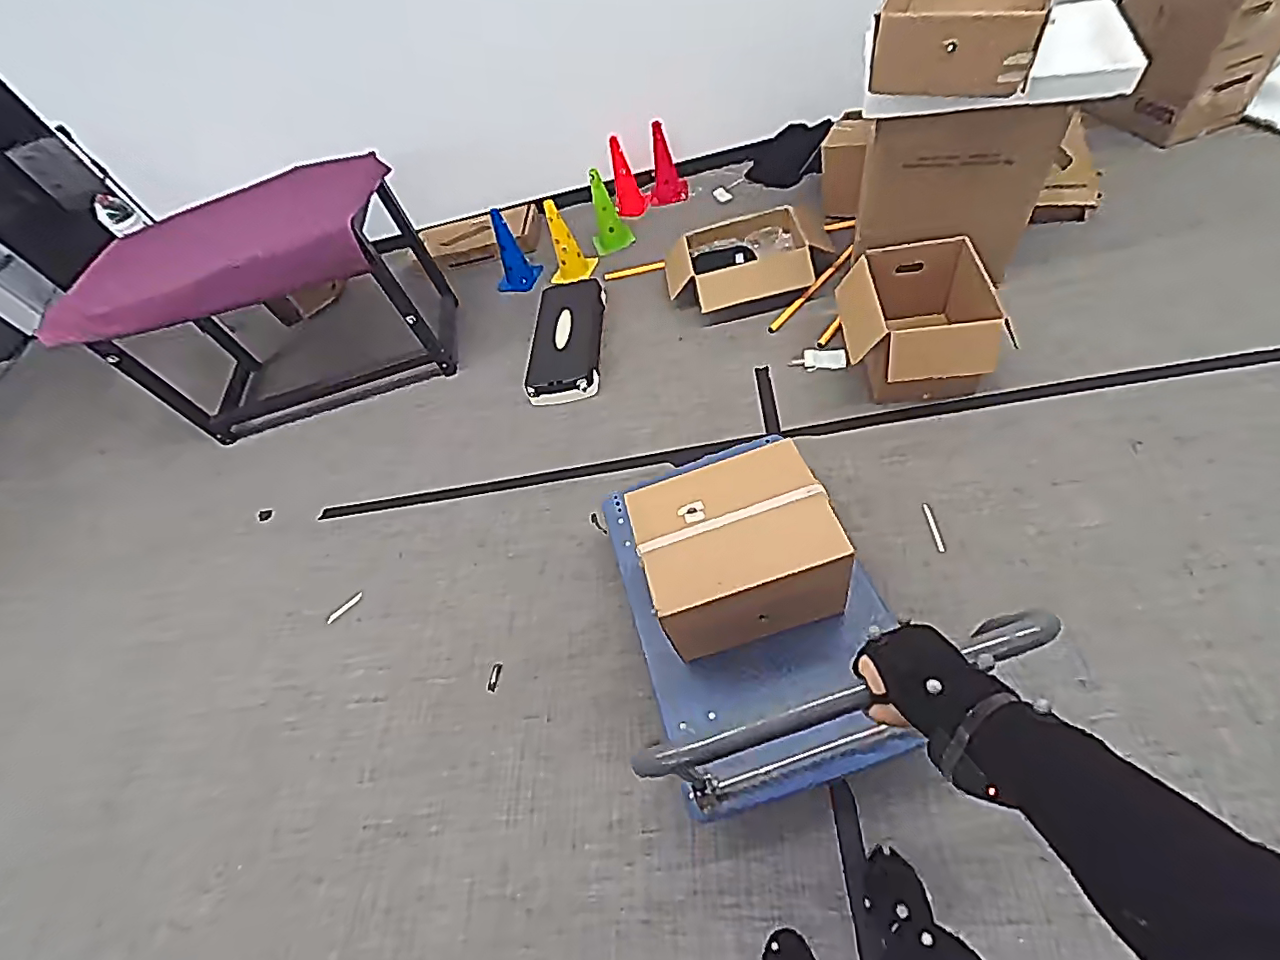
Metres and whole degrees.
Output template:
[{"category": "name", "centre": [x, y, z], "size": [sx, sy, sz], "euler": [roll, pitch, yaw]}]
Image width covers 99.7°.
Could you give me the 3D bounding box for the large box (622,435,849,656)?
[{"category": "large box", "centre": [0.218, 0.162, 1.251], "size": [0.408, 0.320, 0.320], "euler": [-20, 52, 3]}]
